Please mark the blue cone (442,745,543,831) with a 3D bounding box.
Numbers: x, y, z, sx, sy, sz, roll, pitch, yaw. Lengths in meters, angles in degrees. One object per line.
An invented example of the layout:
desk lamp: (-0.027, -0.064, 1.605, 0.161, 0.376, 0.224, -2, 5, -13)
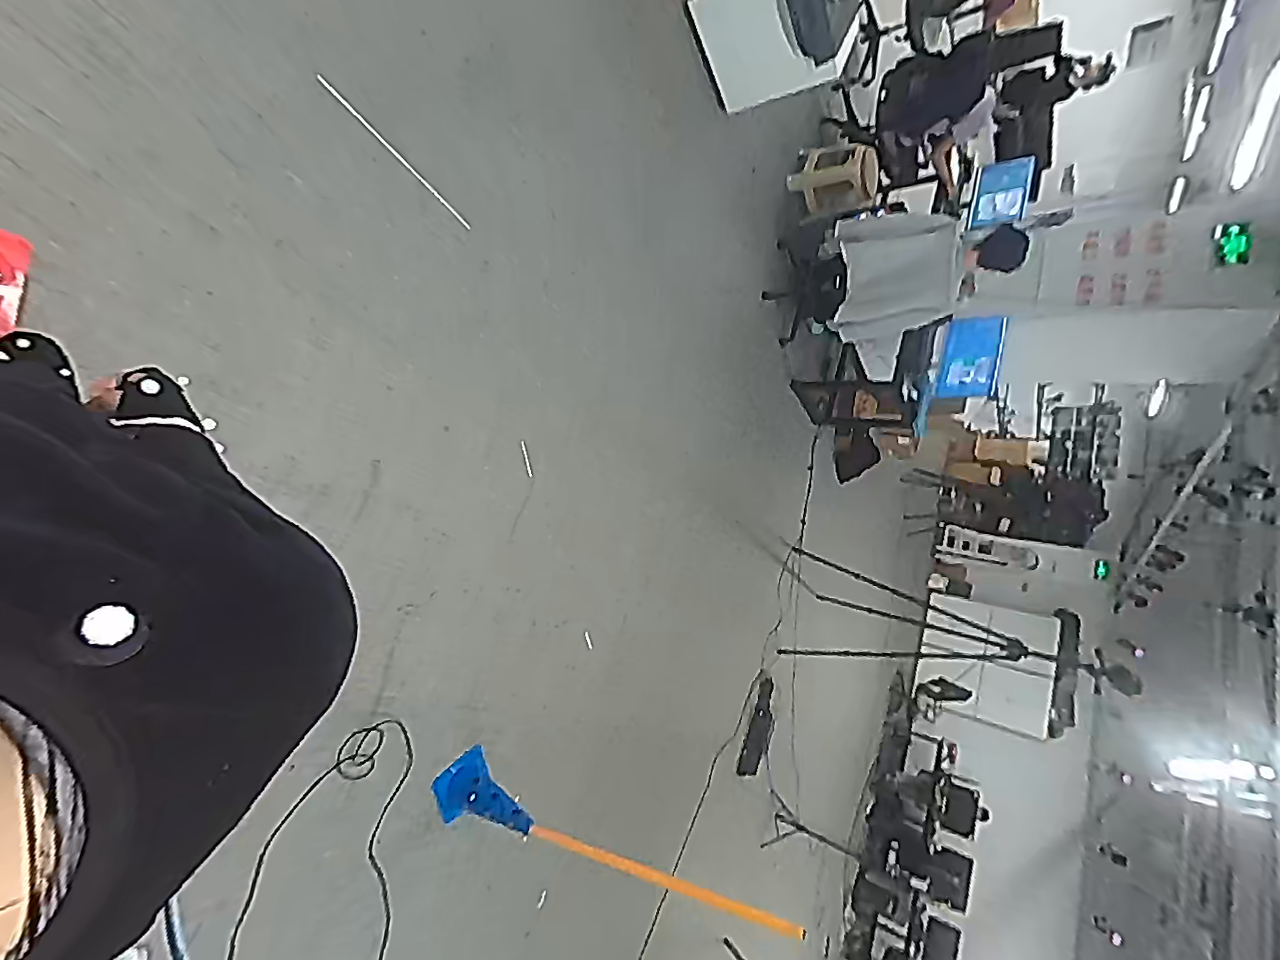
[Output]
blue cone: (-0.469, 1.065, 1.805, 0.193, 0.380, 0.192, -34, 121, -48)
